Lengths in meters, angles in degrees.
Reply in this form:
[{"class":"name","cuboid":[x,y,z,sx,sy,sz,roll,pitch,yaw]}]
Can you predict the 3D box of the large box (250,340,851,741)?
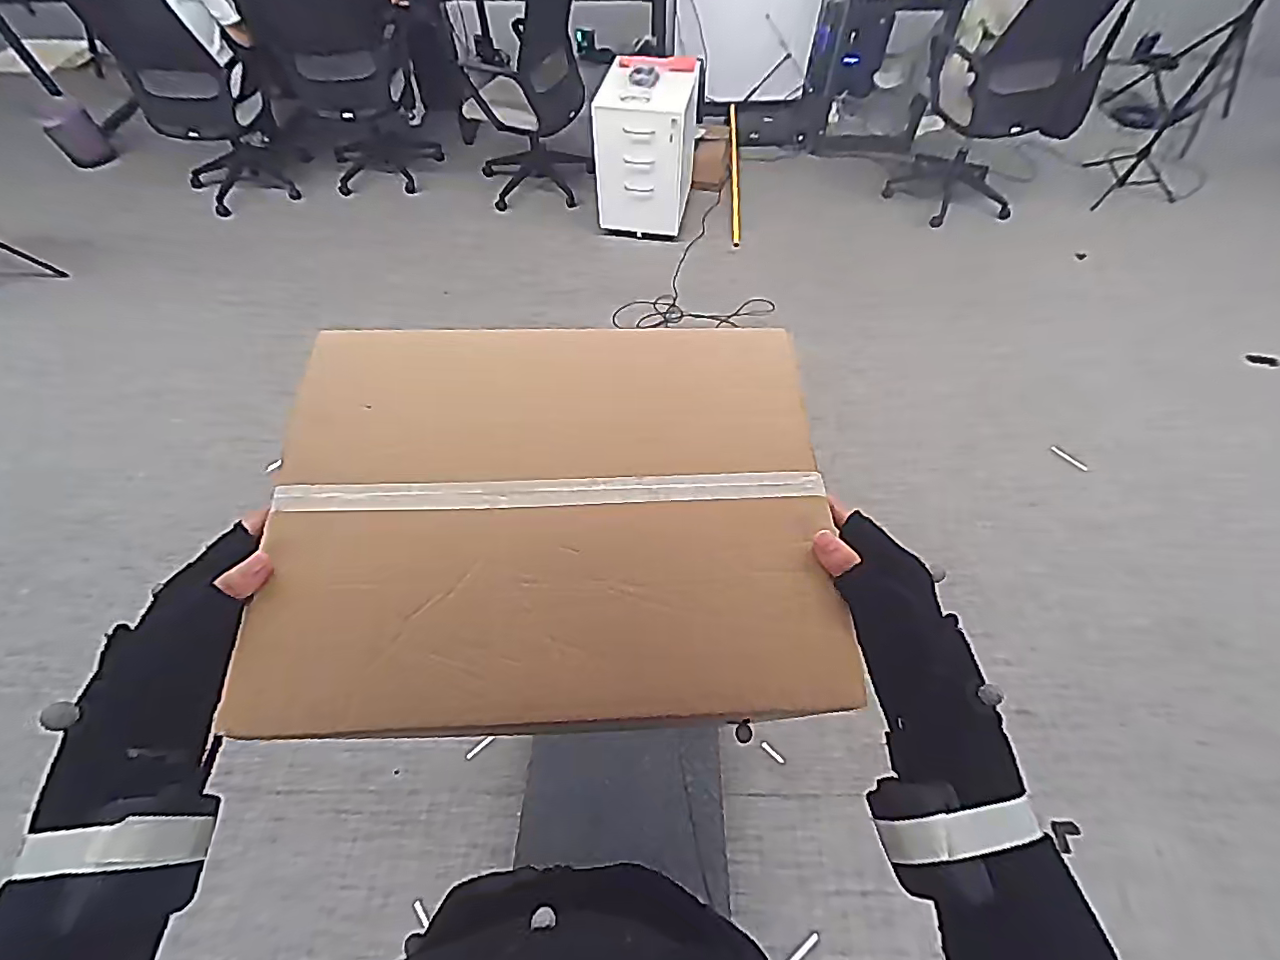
[{"class":"large box","cuboid":[-0.064,0.081,0.552,0.408,0.320,0.320,-2,64,-3]}]
